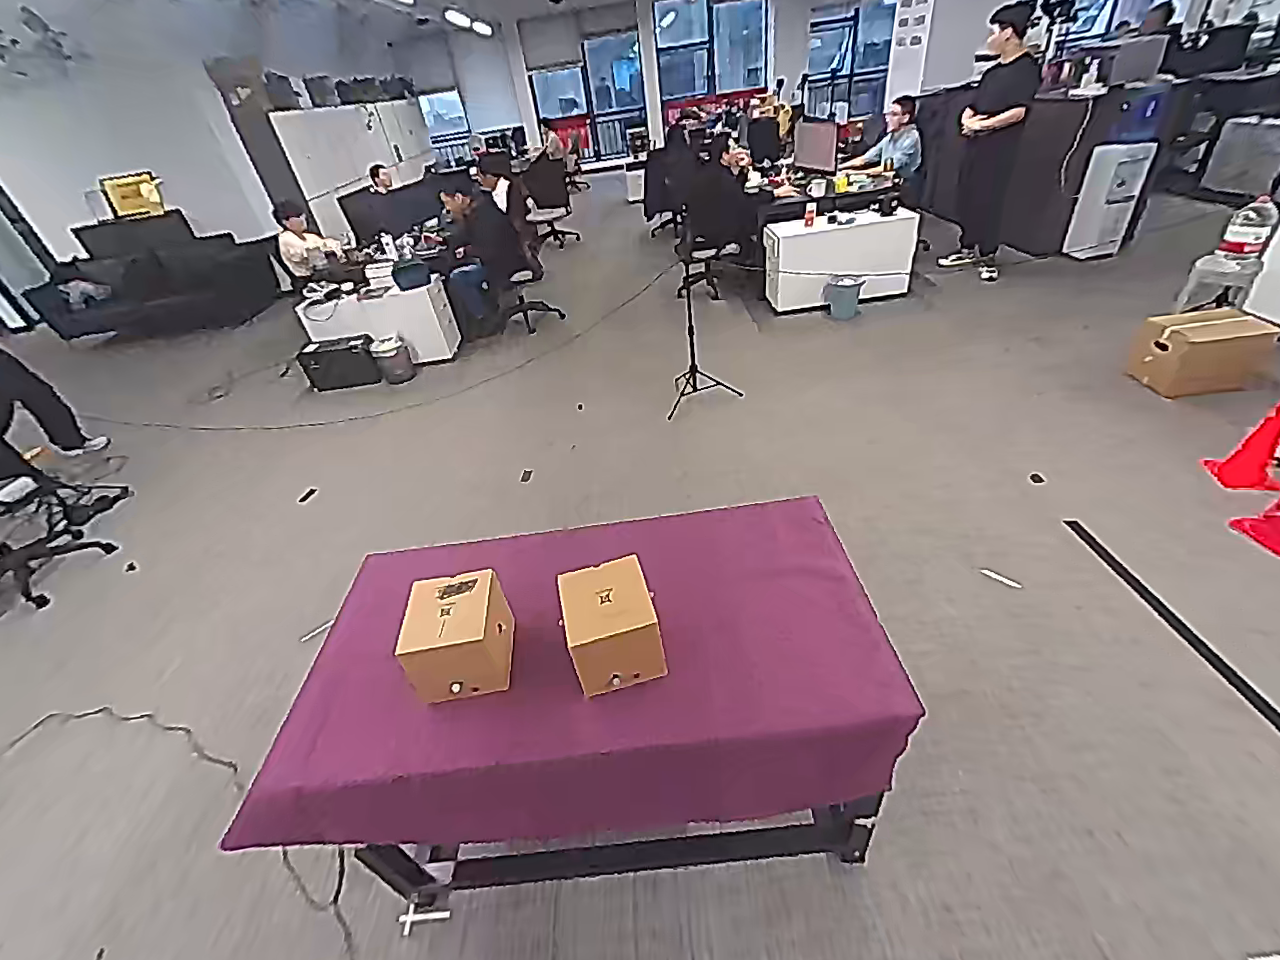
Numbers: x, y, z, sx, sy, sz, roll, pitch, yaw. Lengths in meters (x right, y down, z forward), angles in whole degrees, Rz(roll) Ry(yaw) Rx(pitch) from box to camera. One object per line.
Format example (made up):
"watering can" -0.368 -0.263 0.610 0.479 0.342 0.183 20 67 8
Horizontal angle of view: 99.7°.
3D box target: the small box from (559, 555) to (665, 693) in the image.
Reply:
"small box" -0.056 0.282 1.065 0.168 0.176 0.179 -14 37 -6

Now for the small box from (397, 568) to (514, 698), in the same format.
"small box" -0.360 0.308 1.092 0.168 0.176 0.179 -10 37 -1
